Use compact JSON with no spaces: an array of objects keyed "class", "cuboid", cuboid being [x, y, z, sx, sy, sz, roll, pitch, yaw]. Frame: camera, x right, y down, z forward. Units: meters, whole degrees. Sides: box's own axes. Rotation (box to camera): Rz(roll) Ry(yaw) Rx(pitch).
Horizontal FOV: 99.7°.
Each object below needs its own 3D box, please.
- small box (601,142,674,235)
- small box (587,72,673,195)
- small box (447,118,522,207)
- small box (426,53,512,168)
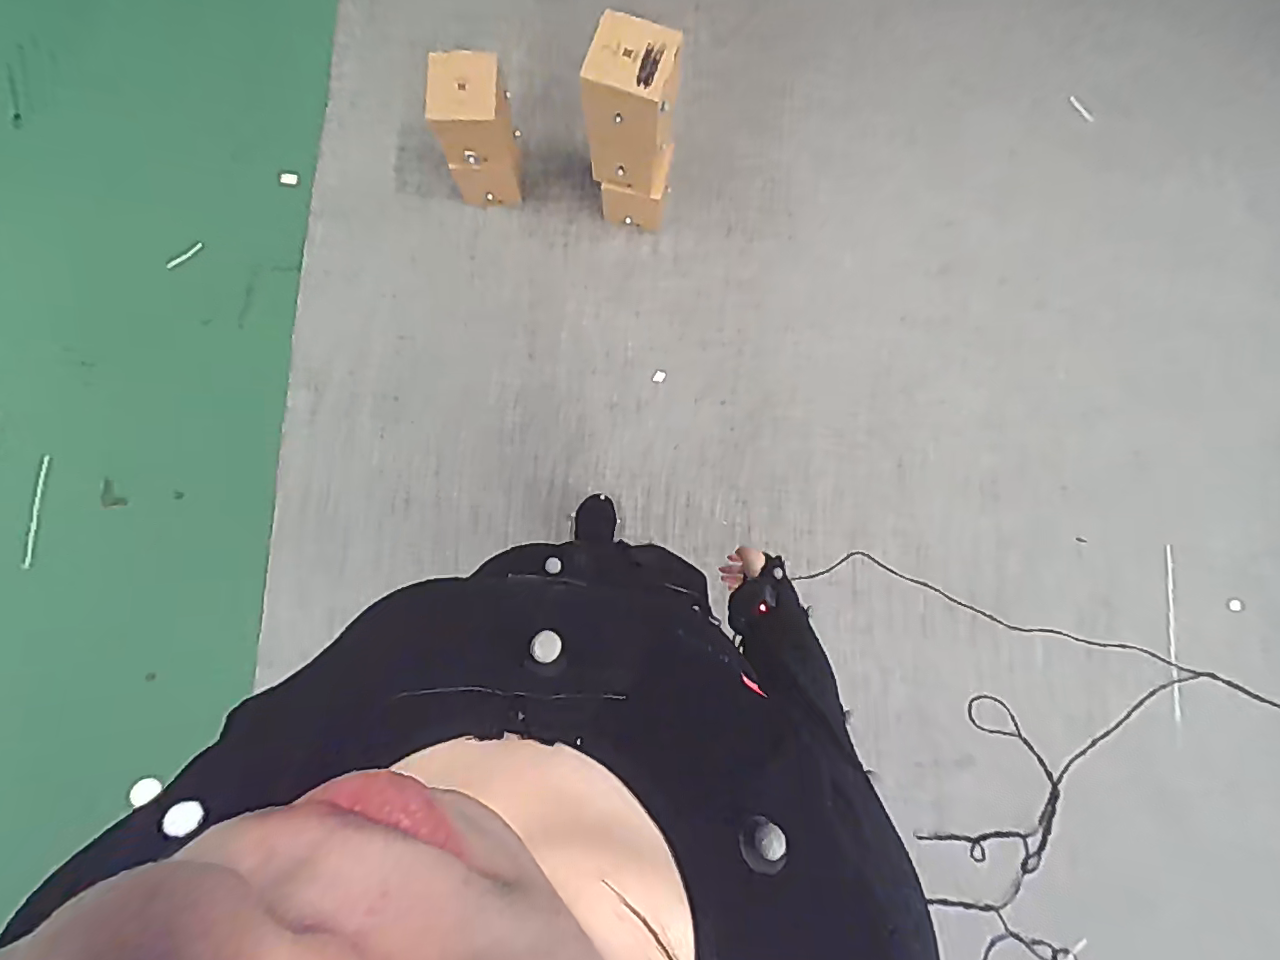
[{"class":"small box","cuboid":[-0.008,-0.826,1.513,0.168,0.176,0.179,13,85,1]},{"class":"small box","cuboid":[-0.023,-0.856,1.353,0.168,0.176,0.179,17,85,1]},{"class":"small box","cuboid":[-0.430,-0.898,1.514,0.168,0.176,0.179,-1,84,-1]},{"class":"small box","cuboid":[-0.421,-0.920,1.353,0.168,0.176,0.179,-1,85,0]}]
